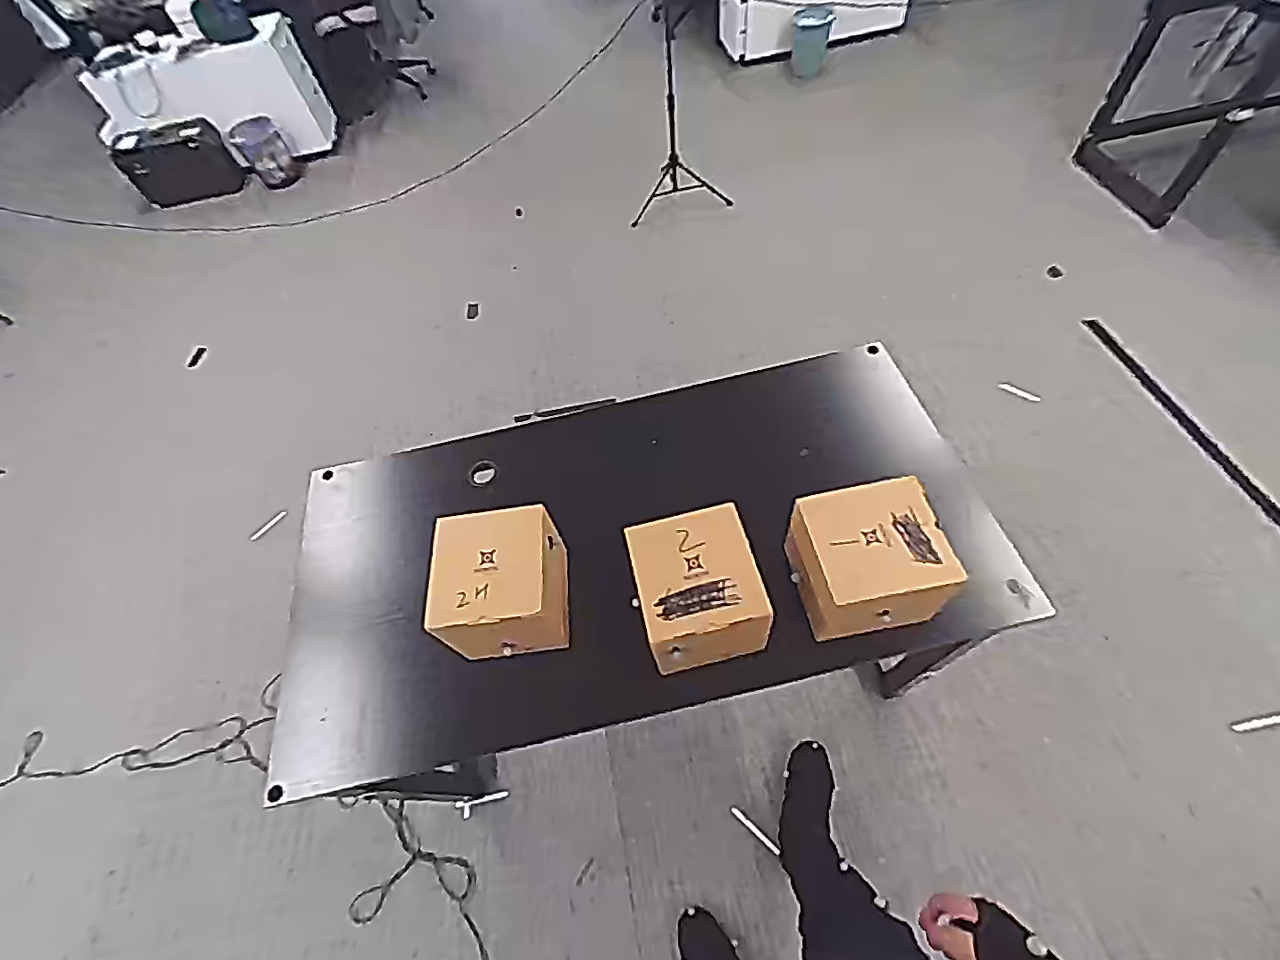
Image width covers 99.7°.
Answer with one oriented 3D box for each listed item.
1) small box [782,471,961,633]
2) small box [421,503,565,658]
[{"bbox_3d":[0.324,0.112,0.798,0.179,0.176,0.168,-12,57,1],"label":"small box"},{"bbox_3d":[-0.216,0.160,0.840,0.168,0.176,0.179,-9,58,2],"label":"small box"}]
